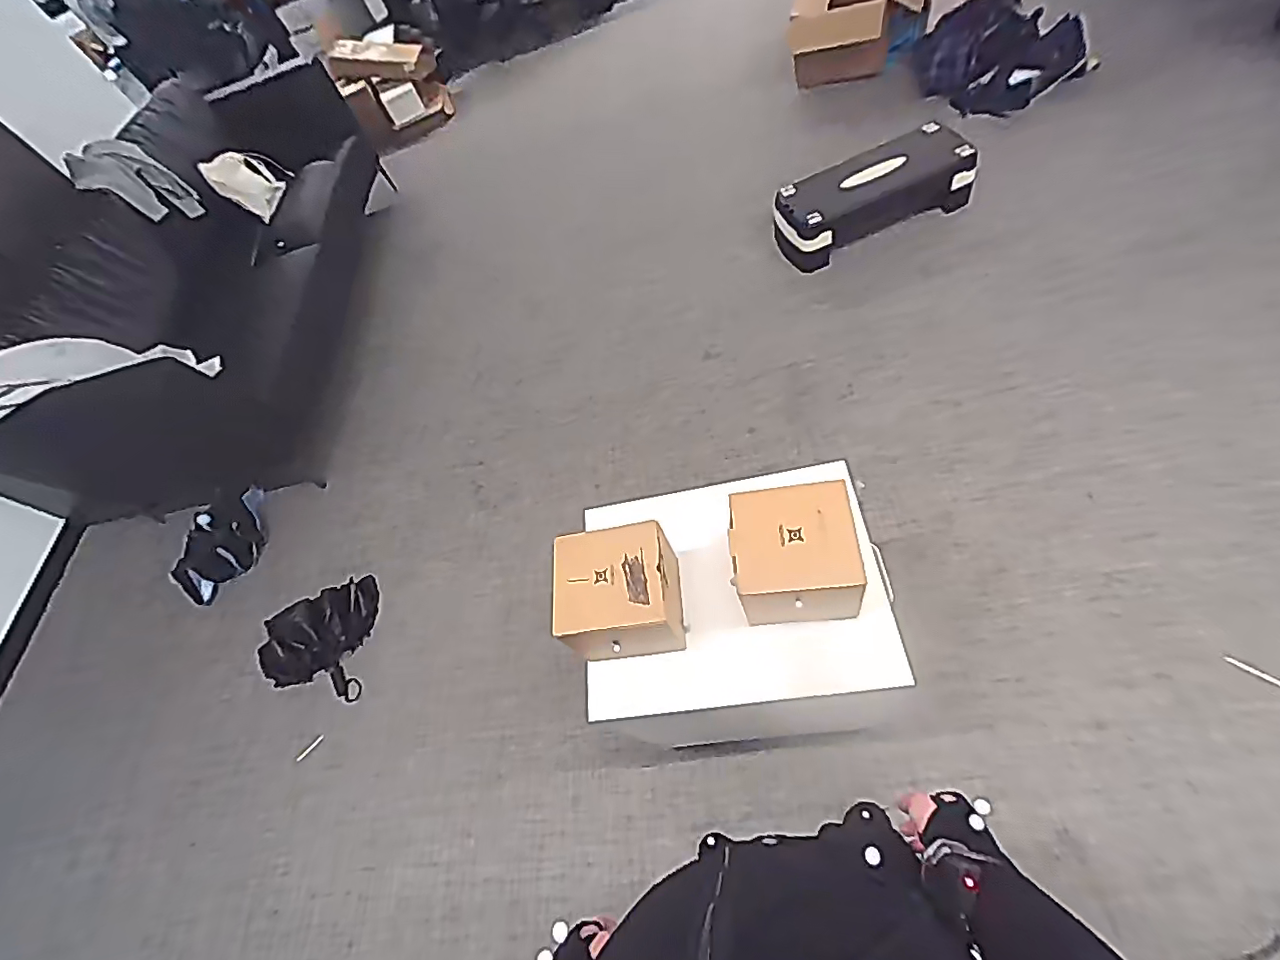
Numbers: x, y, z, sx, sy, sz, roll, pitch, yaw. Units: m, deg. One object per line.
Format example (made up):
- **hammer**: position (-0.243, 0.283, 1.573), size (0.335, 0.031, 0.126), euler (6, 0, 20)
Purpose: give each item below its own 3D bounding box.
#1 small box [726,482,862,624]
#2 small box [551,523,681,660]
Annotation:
- **small box**: position (0.238, 0.122, 0.850), size (0.179, 0.176, 0.168), euler (-8, 60, 13)
- **small box**: position (-0.032, 0.190, 0.892), size (0.179, 0.176, 0.168), euler (-11, 57, 11)
